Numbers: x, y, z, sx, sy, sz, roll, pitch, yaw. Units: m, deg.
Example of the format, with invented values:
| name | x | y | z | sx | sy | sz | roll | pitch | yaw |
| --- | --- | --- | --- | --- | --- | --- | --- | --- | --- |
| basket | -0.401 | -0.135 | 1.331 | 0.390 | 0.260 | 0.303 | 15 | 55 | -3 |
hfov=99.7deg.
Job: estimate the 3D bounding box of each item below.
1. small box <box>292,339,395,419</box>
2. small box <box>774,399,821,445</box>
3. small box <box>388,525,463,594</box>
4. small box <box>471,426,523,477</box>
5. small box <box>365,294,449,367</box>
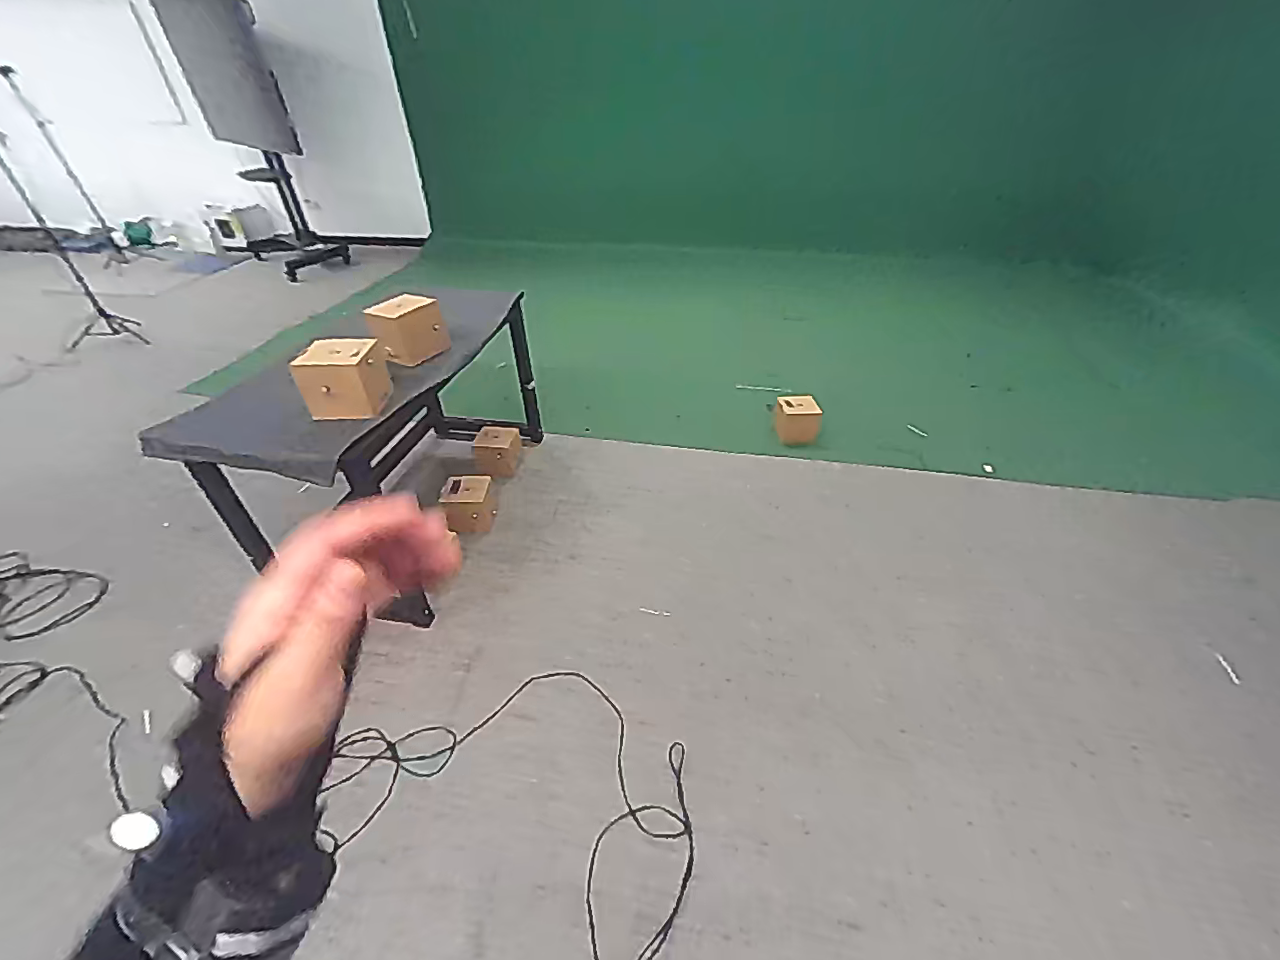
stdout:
| name | x | y | z | sx | sy | sz | roll | pitch | yaw |
| --- | --- | --- | --- | --- | --- | --- | --- | --- | --- |
| small box | -0.819 | -0.281 | 1.513 | 0.179 | 0.176 | 0.168 | -1 | 38 | 0 |
| small box | 0.764 | -0.280 | 2.642 | 0.179 | 0.176 | 0.168 | -3 | 39 | -3 |
| small box | -0.770 | 0.293 | 1.966 | 0.179 | 0.176 | 0.168 | 9 | 40 | 13 |
| small box | -0.652 | -0.129 | 2.487 | 0.179 | 0.176 | 0.168 | 4 | 38 | 6 |
| small box | -0.756 | -0.493 | 1.781 | 0.168 | 0.176 | 0.179 | 18 | 44 | 27 |
